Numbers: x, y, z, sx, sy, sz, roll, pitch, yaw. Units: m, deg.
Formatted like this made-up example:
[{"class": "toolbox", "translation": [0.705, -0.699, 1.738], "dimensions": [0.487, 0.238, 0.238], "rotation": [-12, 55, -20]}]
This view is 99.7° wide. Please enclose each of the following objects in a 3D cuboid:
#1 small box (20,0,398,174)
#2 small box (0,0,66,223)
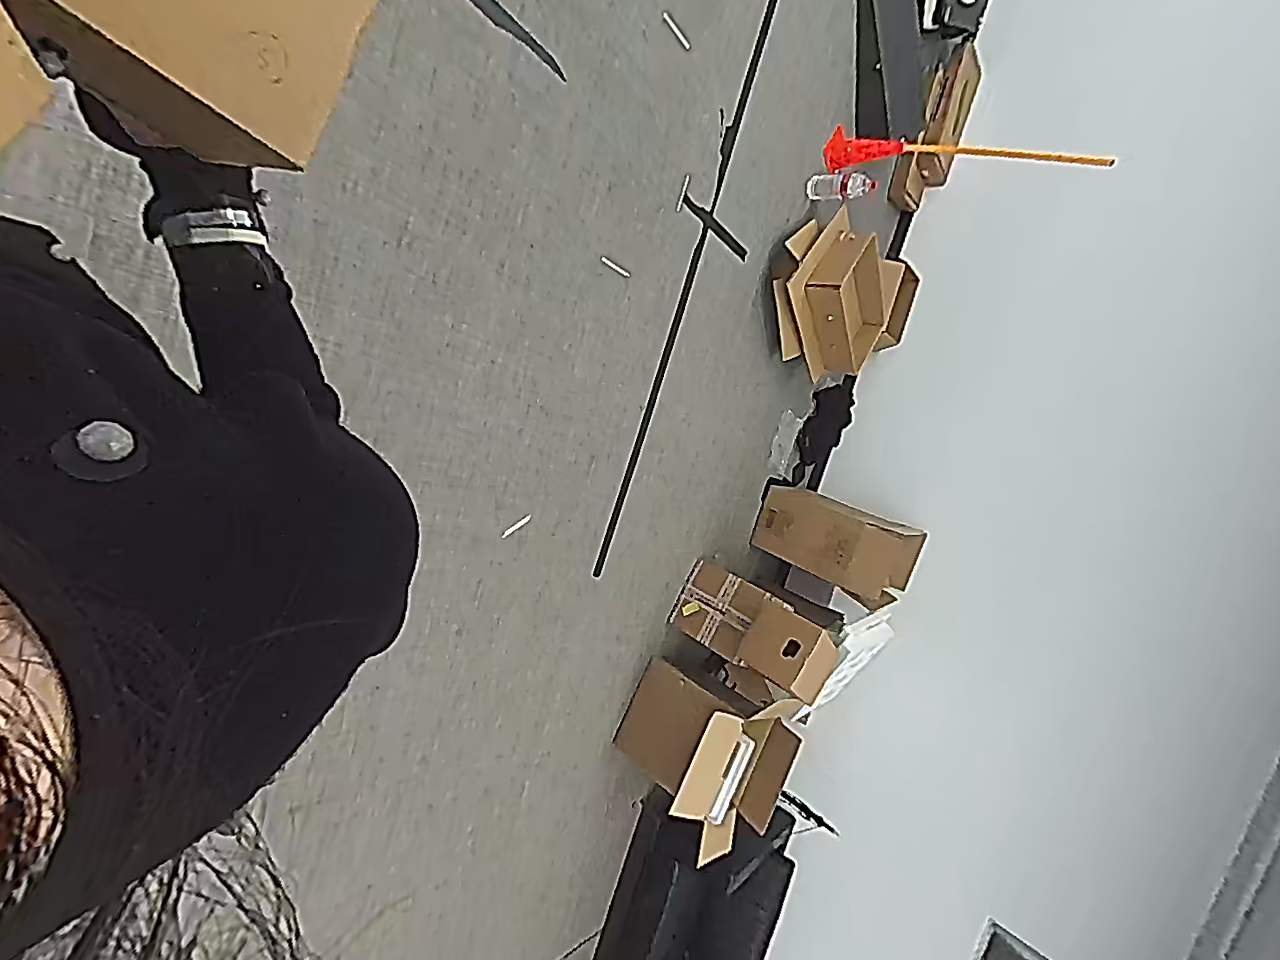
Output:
[{"class": "small box", "translation": [-0.250, -0.295, 0.281], "dimensions": [0.168, 0.176, 0.179], "rotation": [24, 90, -59]}, {"class": "small box", "translation": [-0.266, -0.145, 0.094], "dimensions": [0.168, 0.176, 0.179], "rotation": [-23, 139, -22]}]
